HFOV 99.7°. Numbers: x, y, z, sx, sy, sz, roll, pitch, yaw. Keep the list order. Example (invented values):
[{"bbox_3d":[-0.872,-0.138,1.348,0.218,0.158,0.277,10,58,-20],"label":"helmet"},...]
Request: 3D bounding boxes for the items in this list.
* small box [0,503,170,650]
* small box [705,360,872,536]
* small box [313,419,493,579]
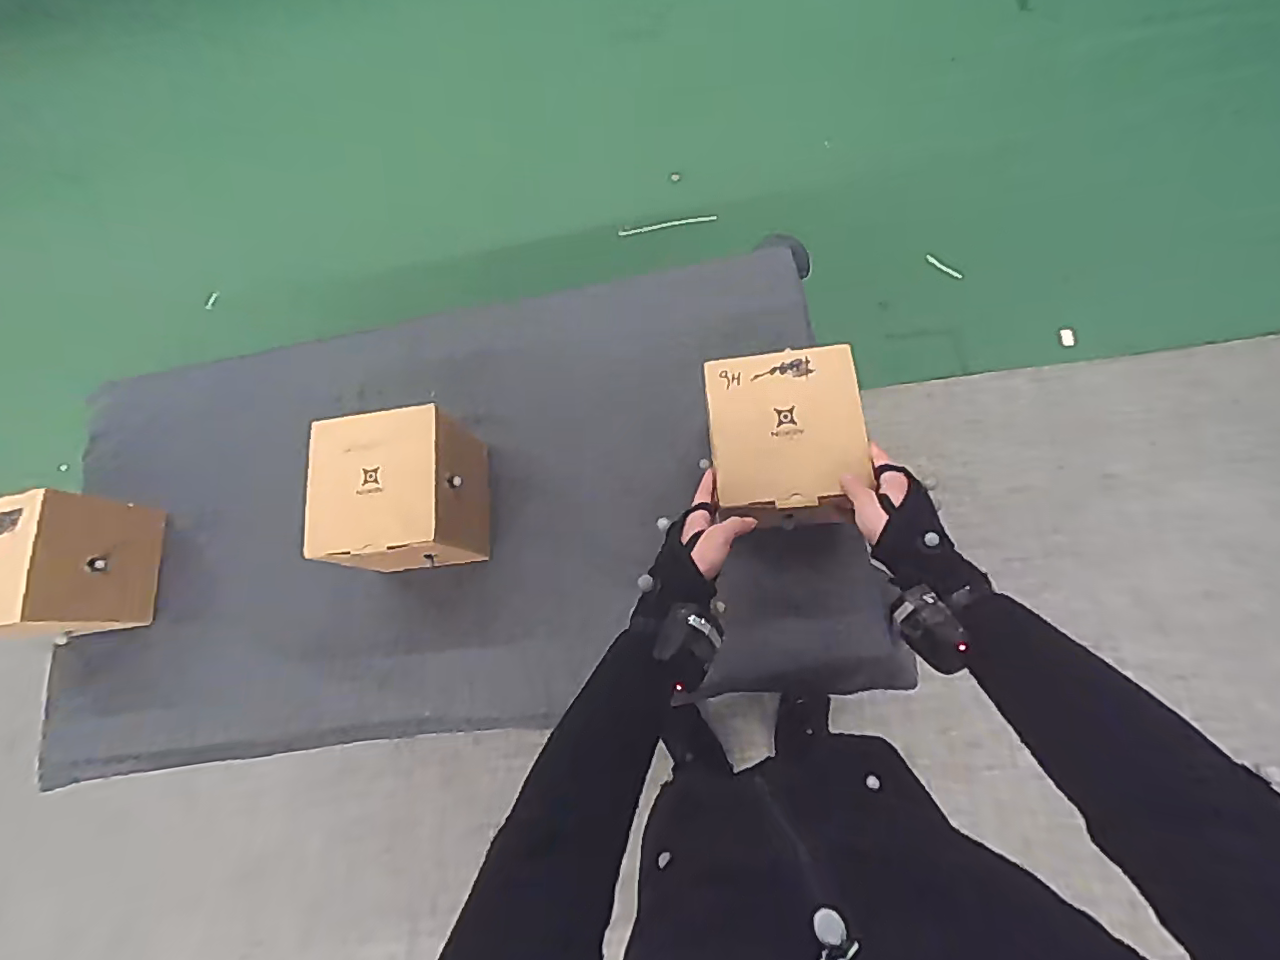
[{"bbox_3d":[-0.827,0.146,0.773,0.168,0.176,0.179,-9,74,5],"label":"small box"},{"bbox_3d":[0.174,-0.027,0.680,0.168,0.176,0.179,-6,75,7],"label":"small box"},{"bbox_3d":[-0.308,0.037,0.734,0.168,0.176,0.179,-8,73,4],"label":"small box"}]
